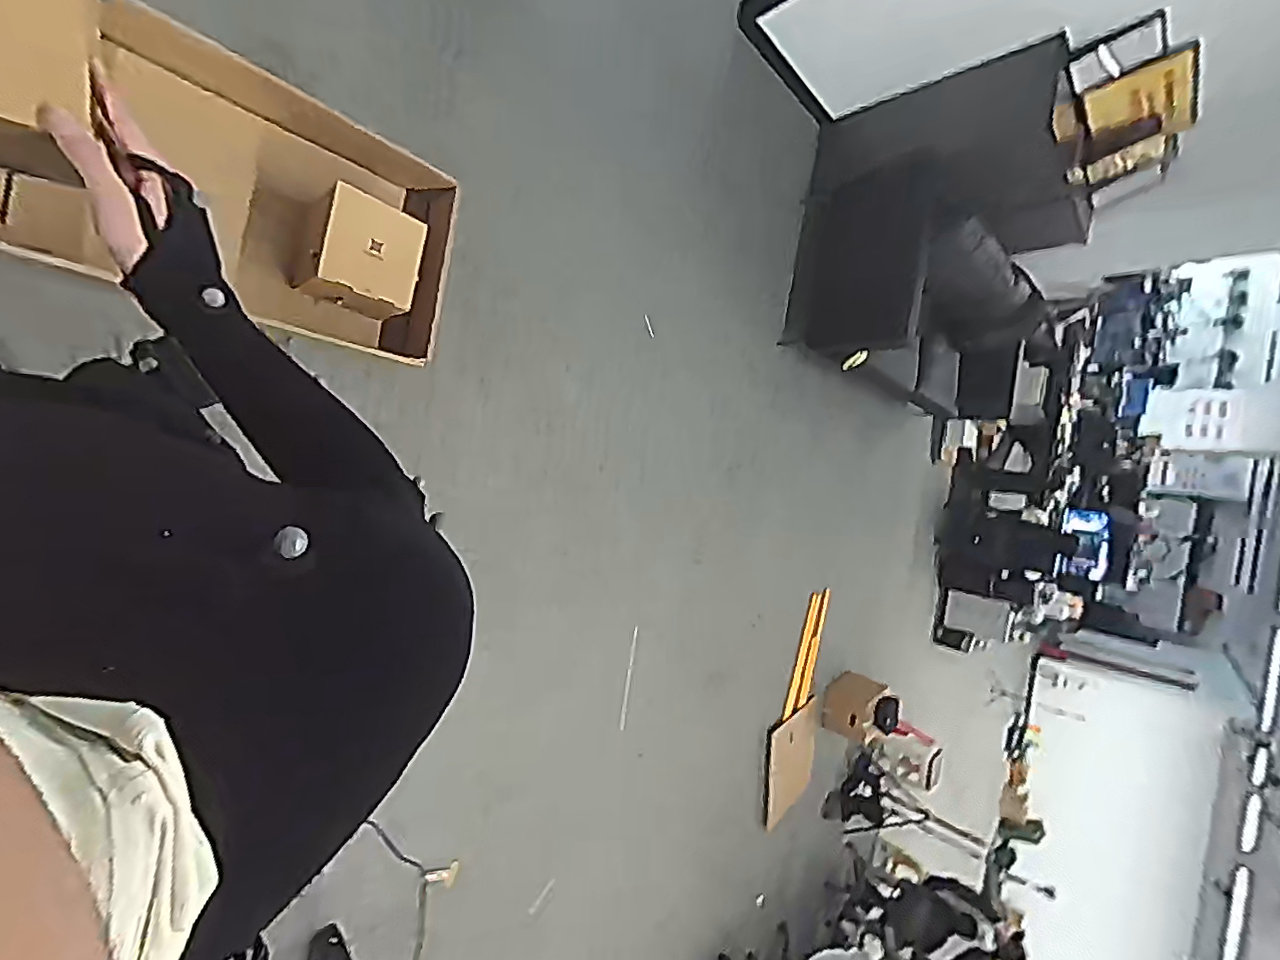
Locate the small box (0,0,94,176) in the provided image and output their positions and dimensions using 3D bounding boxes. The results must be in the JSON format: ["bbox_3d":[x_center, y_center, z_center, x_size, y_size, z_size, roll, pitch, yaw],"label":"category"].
[{"bbox_3d":[-0.510,-0.351,0.383,0.168,0.176,0.179,-1,100,-43],"label":"small box"}]
